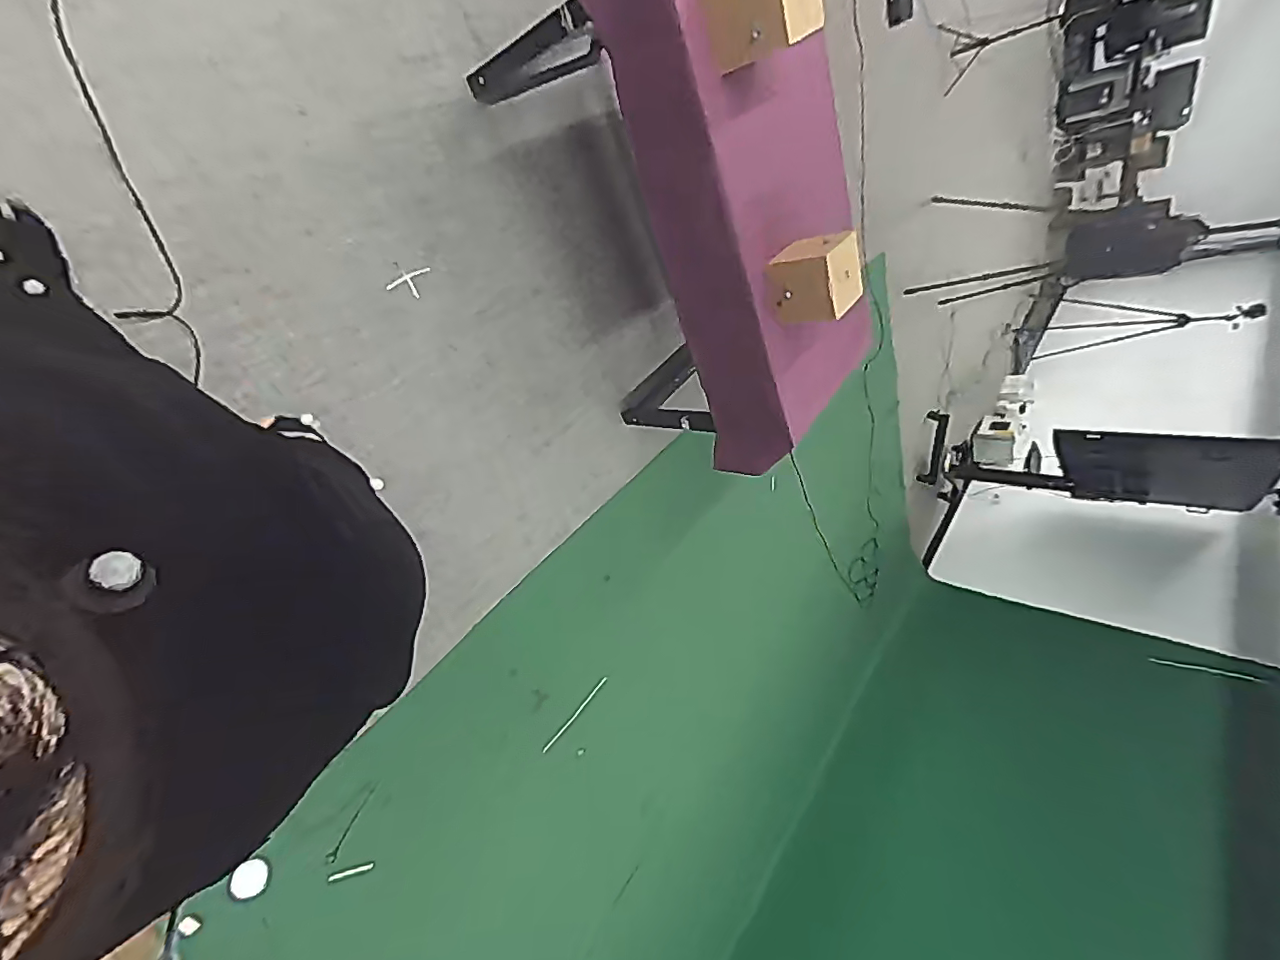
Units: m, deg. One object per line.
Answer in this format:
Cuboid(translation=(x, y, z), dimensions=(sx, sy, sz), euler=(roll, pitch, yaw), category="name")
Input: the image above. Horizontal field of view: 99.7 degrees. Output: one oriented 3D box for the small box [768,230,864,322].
Cuboid(translation=(0.457, -0.526, 1.404), dimensions=(0.179, 0.176, 0.168), euler=(-44, 126, -31), category="small box")
